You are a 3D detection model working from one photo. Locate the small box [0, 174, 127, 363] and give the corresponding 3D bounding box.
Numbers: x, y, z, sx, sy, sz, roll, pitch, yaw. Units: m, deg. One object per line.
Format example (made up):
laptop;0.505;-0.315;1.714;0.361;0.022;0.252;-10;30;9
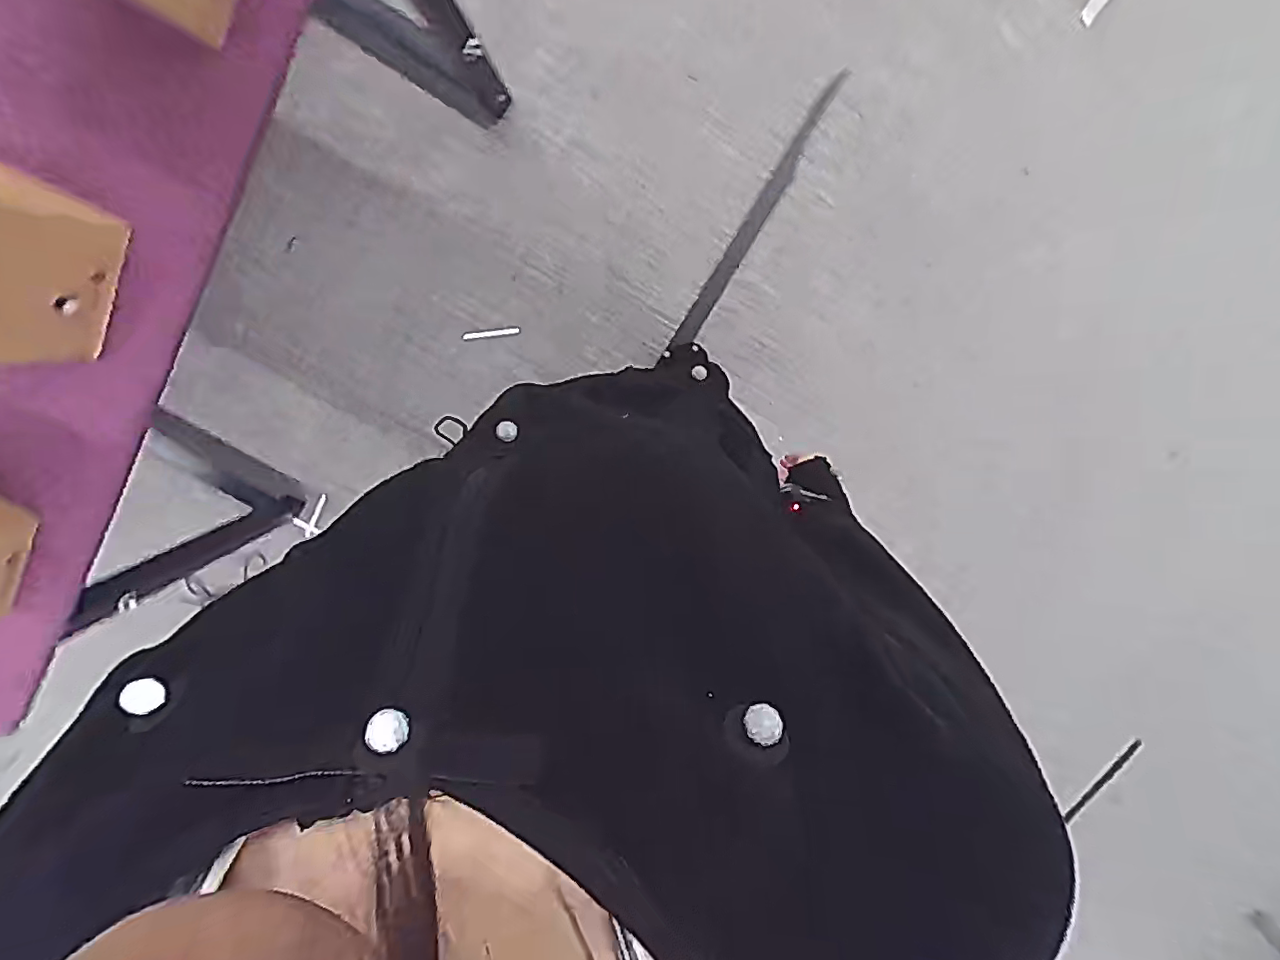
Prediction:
small box;-0.687;-0.222;0.537;0.179;0.176;0.168;26;103;-7
